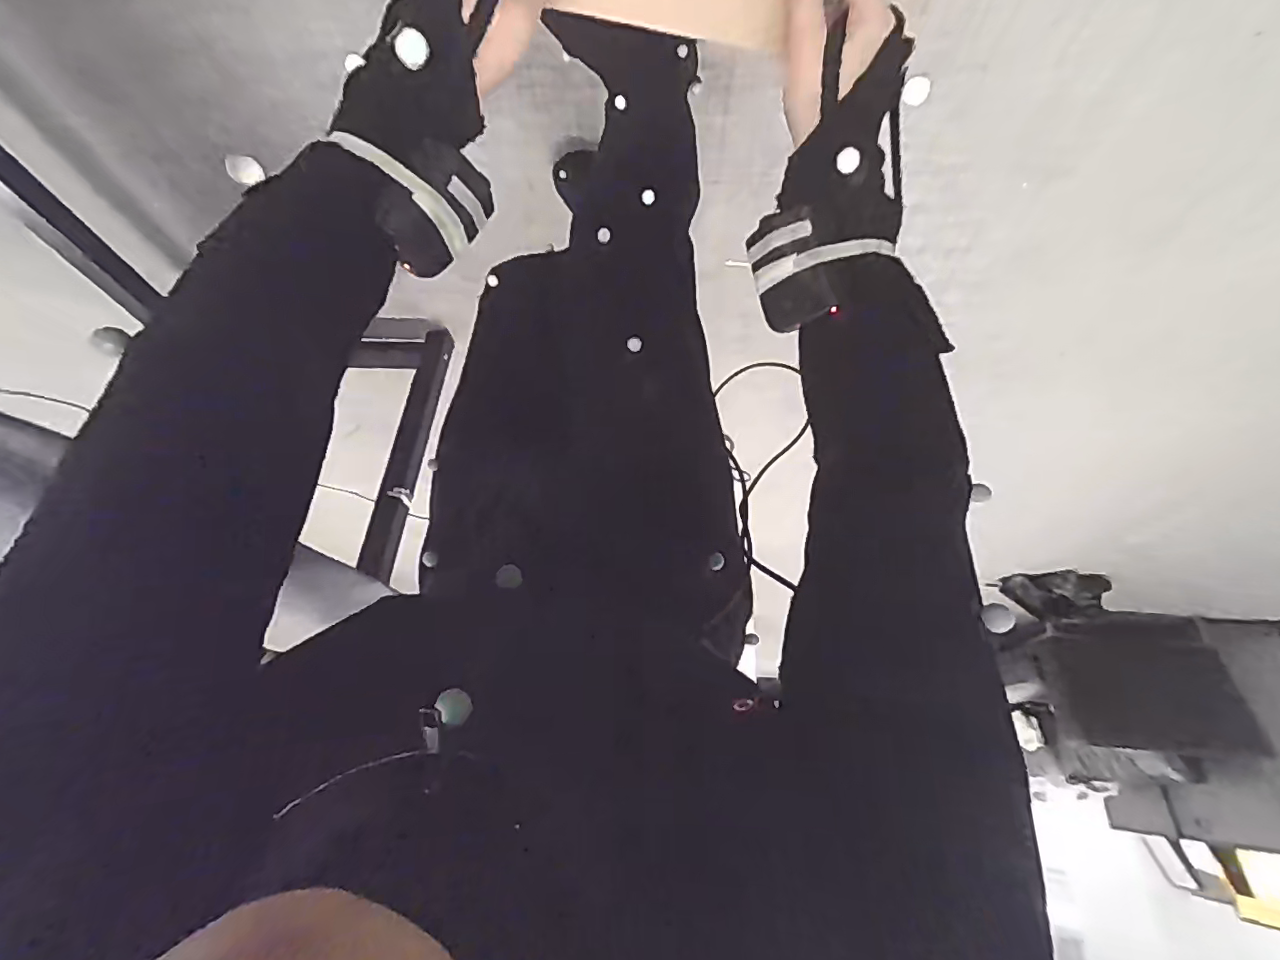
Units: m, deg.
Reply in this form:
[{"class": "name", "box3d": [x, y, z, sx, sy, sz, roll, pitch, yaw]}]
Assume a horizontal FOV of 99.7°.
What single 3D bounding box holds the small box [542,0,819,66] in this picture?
[{"class": "small box", "box3d": [0.038, -0.386, 0.309, 0.168, 0.176, 0.179, 9, 145, -5]}]
